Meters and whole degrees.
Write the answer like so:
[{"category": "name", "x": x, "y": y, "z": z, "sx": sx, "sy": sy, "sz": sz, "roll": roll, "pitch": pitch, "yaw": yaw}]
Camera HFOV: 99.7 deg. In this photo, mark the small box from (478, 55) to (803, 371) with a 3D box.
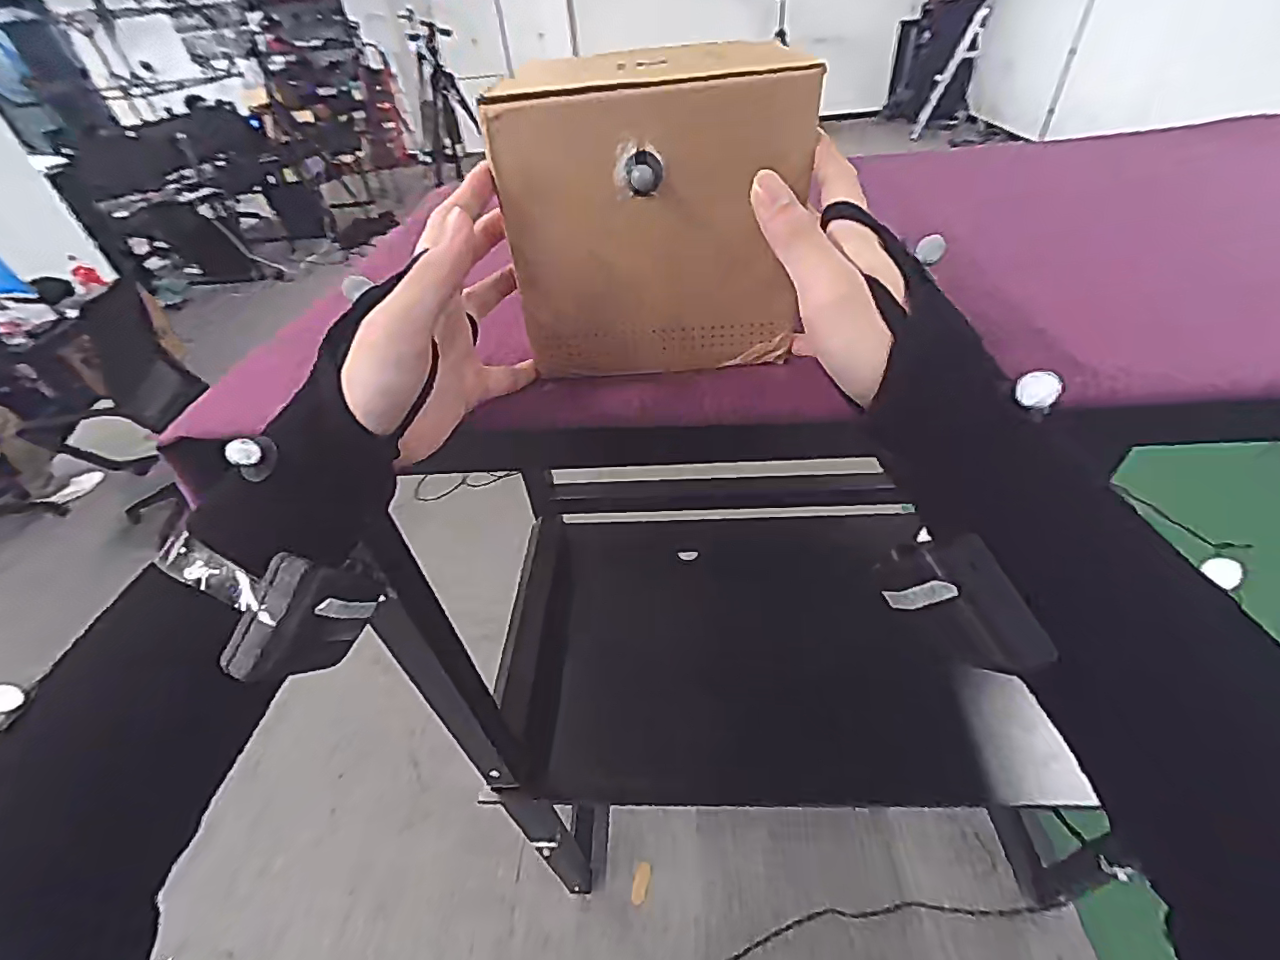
[{"category": "small box", "x": 0.008, "y": -0.191, "z": 0.393, "sx": 0.179, "sy": 0.176, "sz": 0.168, "roll": -2, "pitch": 42, "yaw": 4}]
